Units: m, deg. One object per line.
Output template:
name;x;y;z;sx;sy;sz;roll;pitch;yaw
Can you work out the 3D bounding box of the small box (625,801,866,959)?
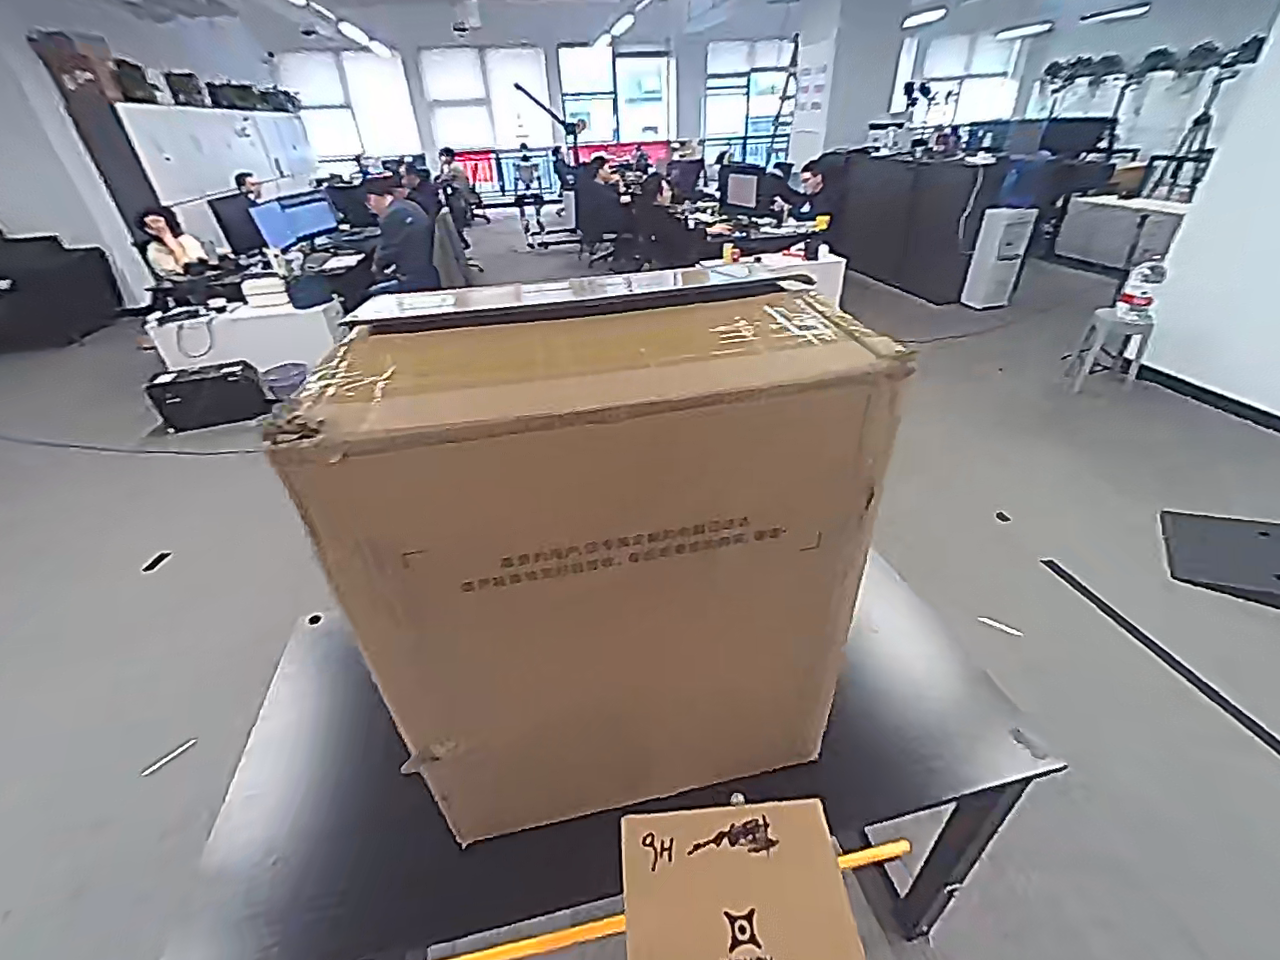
small box;0.076;0.382;0.434;0.168;0.176;0.179;-3;45;-2
